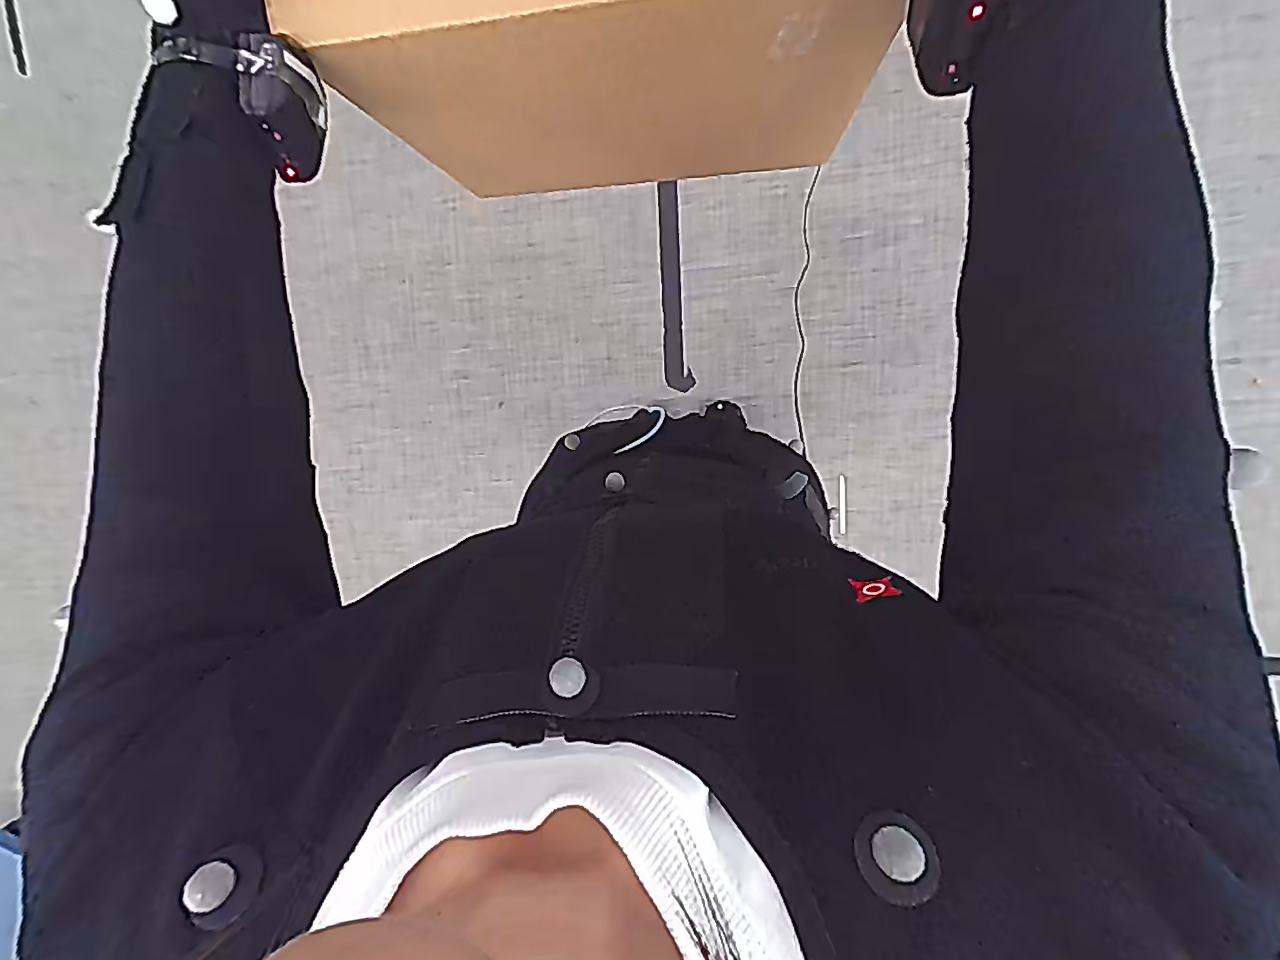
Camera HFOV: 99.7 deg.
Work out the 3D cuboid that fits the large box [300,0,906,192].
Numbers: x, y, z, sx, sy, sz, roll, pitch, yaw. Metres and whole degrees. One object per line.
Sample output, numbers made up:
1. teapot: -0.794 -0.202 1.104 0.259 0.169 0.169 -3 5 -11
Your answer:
1. large box: -0.017 -0.471 0.448 0.408 0.320 0.320 -2 102 7
